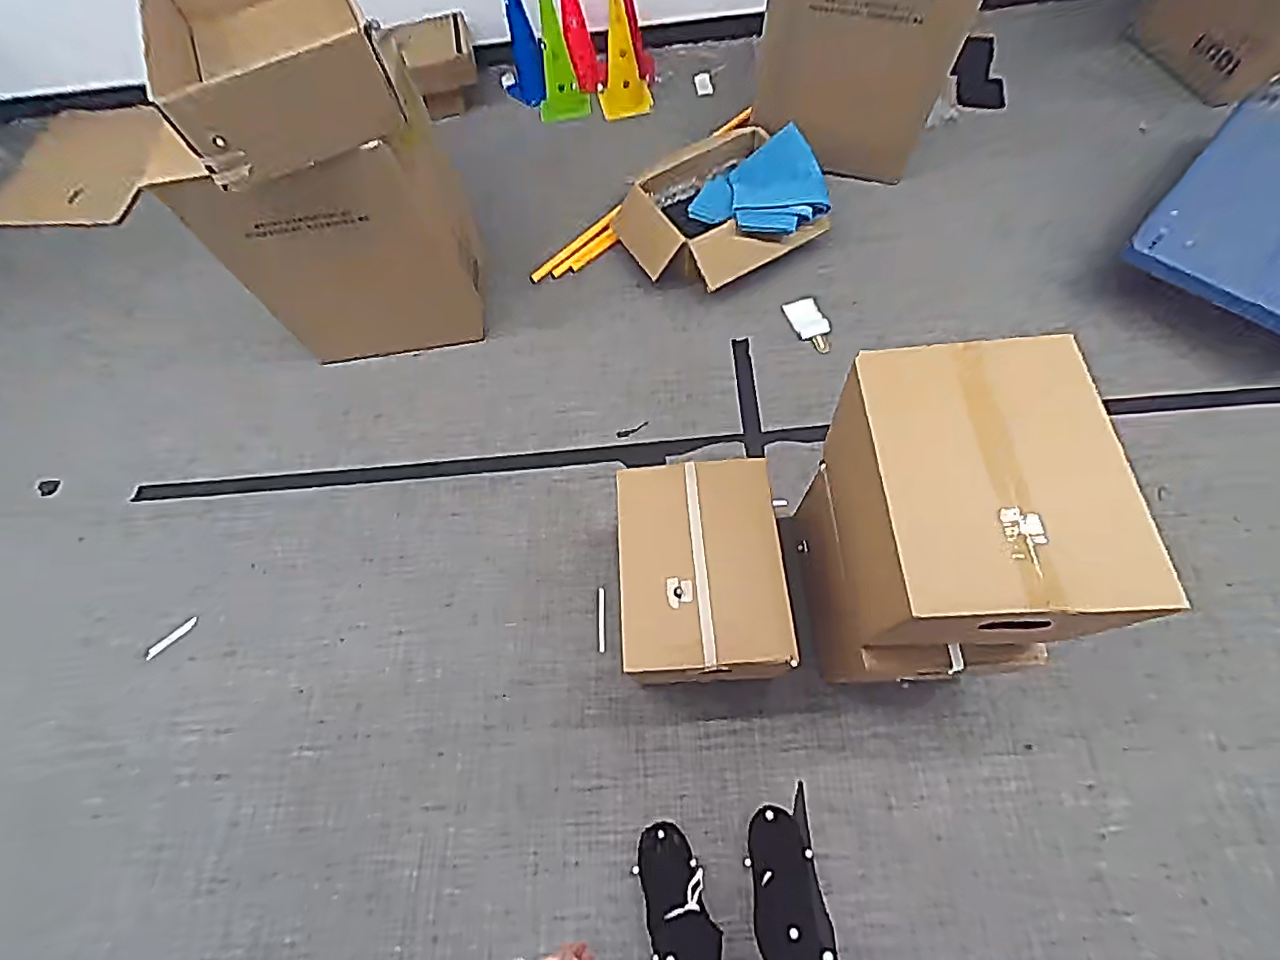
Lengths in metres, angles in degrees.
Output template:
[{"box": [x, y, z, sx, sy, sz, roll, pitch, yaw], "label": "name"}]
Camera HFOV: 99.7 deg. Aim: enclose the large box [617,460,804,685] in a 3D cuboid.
[{"box": [0.131, 0.210, 1.168, 0.320, 0.320, 0.408, -5, 66, 3], "label": "large box"}]
